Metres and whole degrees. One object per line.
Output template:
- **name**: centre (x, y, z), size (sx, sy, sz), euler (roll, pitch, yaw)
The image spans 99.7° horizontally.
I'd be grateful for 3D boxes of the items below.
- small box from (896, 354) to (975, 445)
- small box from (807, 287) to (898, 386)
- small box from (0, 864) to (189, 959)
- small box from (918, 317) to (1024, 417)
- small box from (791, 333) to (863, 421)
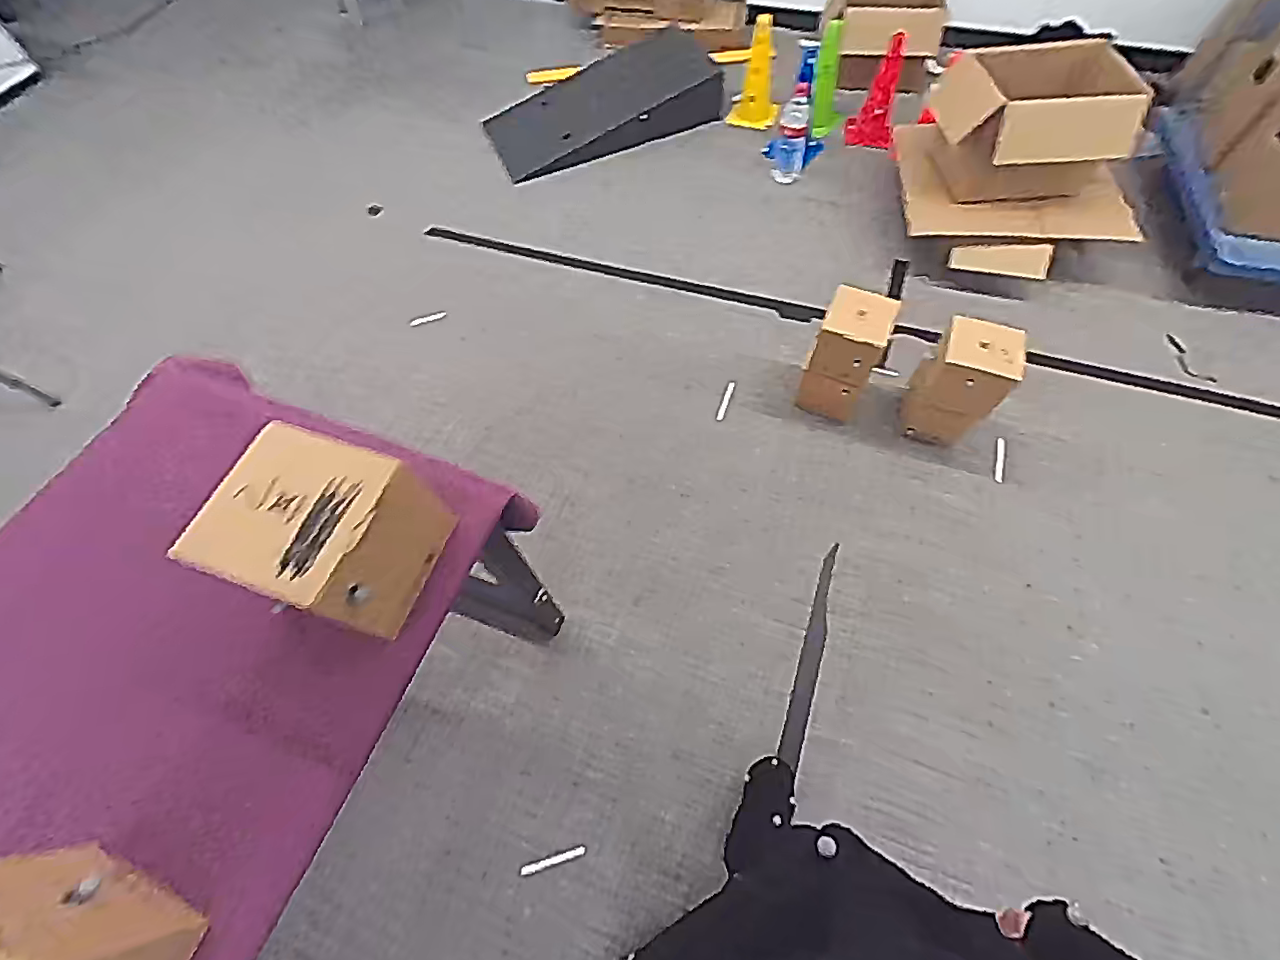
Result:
- **small box**: centre (0.858, -0.226, 1.555), size (0.168, 0.176, 0.179), euler (17, 63, 10)
- **small box**: centre (0.570, -0.384, 1.468), size (0.168, 0.176, 0.179), euler (22, 64, 11)
- **small box**: centre (-0.519, 0.441, 0.428), size (0.168, 0.176, 0.179), euler (19, 64, 12)
- **small box**: centre (0.851, -0.287, 1.402), size (0.179, 0.176, 0.168), euler (19, 65, 11)
- **small box**: centre (0.569, -0.302, 1.608), size (0.179, 0.176, 0.168), euler (22, 65, 13)
